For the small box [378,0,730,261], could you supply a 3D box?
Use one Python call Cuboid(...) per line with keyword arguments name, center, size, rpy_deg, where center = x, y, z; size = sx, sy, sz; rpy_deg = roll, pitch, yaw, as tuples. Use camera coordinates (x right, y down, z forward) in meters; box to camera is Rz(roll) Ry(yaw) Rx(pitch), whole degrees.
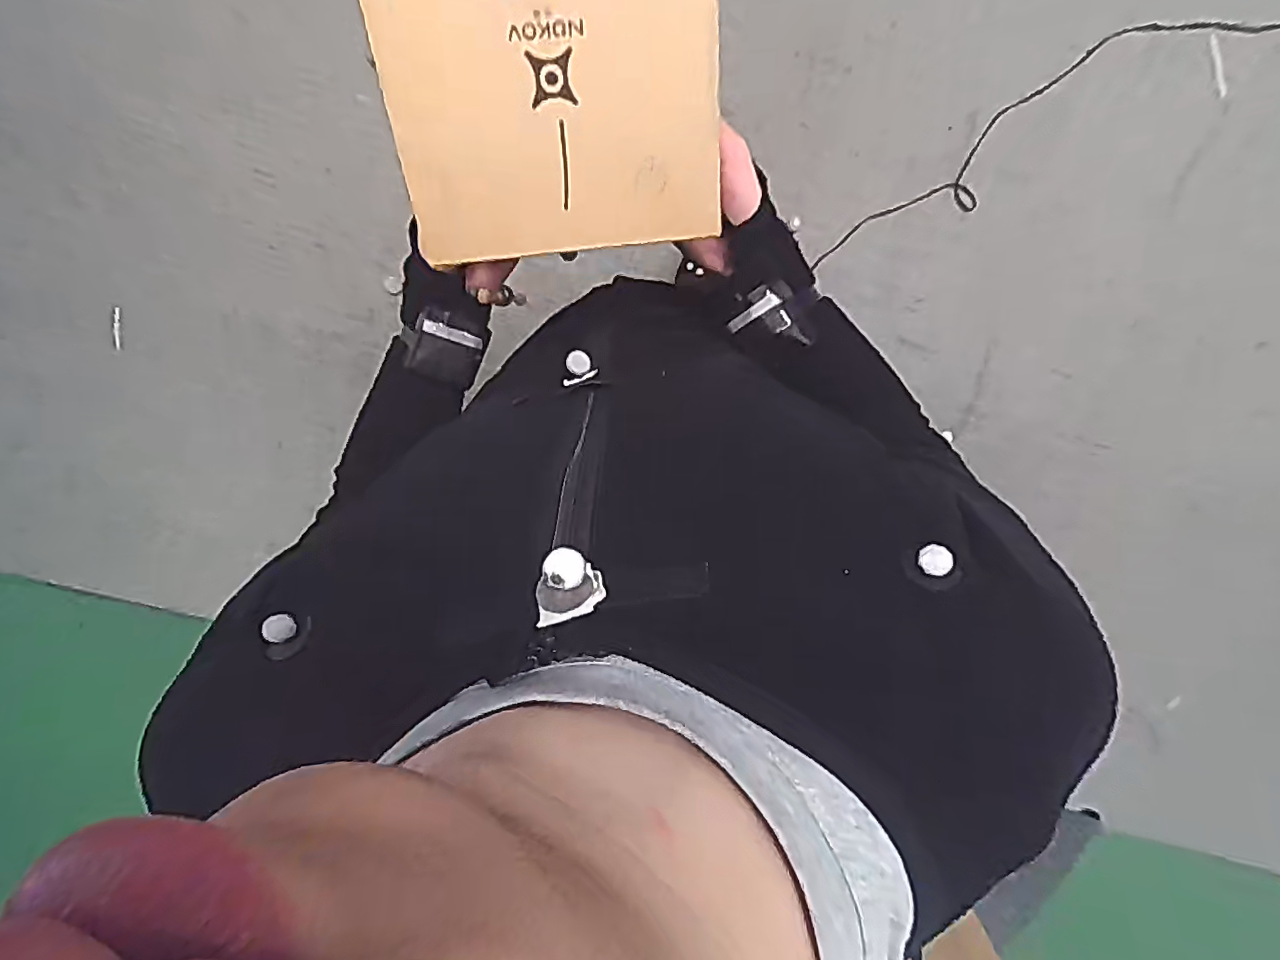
Cuboid(name="small box", center=(-0.047, -0.242, 0.331), size=(0.168, 0.176, 0.179), rpy_deg=(-7, 120, -3))
